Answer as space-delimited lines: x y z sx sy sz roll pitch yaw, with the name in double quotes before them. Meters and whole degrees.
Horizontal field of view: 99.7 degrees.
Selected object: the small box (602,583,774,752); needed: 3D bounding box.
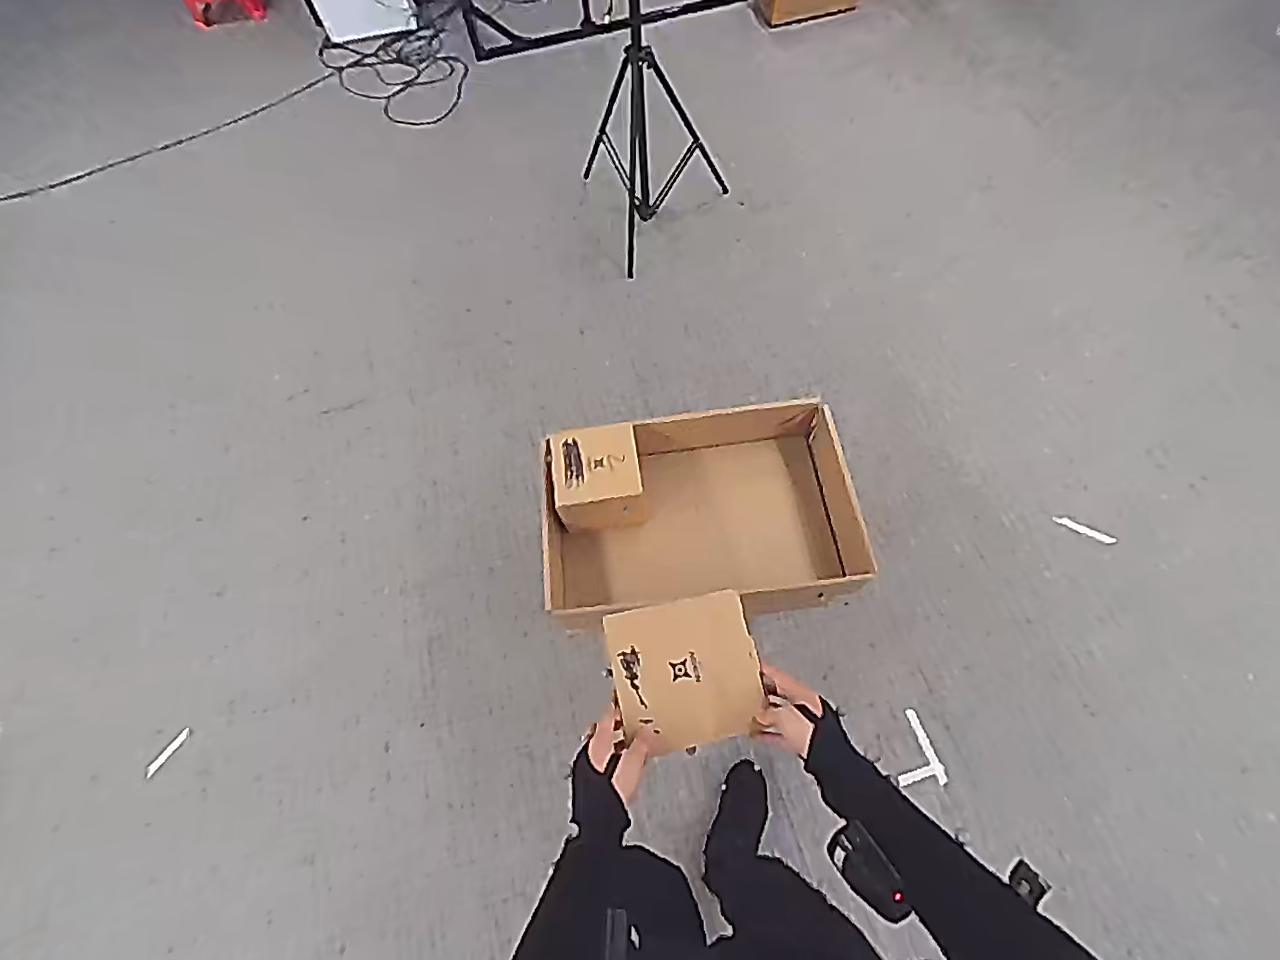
"small box" 0.049 0.245 0.709 0.179 0.176 0.168 -10 67 -8
